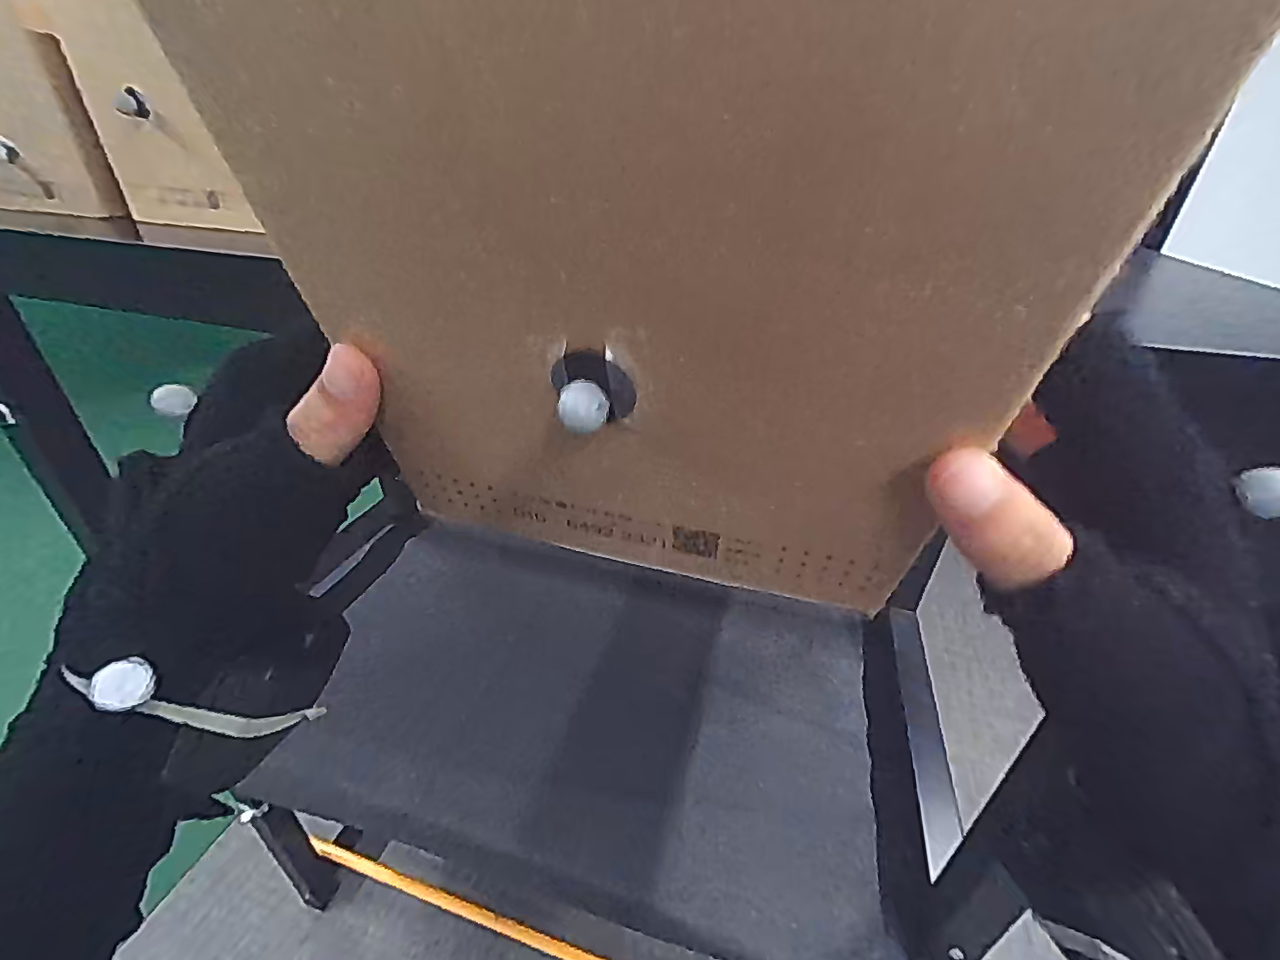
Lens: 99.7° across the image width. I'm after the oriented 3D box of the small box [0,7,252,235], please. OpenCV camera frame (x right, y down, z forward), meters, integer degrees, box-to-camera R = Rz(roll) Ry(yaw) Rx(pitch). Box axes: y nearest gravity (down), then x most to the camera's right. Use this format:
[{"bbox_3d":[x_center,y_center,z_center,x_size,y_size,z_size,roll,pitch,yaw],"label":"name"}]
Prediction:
[{"bbox_3d":[-0.545,-0.359,0.556,0.168,0.176,0.179,10,33,13],"label":"small box"}]
